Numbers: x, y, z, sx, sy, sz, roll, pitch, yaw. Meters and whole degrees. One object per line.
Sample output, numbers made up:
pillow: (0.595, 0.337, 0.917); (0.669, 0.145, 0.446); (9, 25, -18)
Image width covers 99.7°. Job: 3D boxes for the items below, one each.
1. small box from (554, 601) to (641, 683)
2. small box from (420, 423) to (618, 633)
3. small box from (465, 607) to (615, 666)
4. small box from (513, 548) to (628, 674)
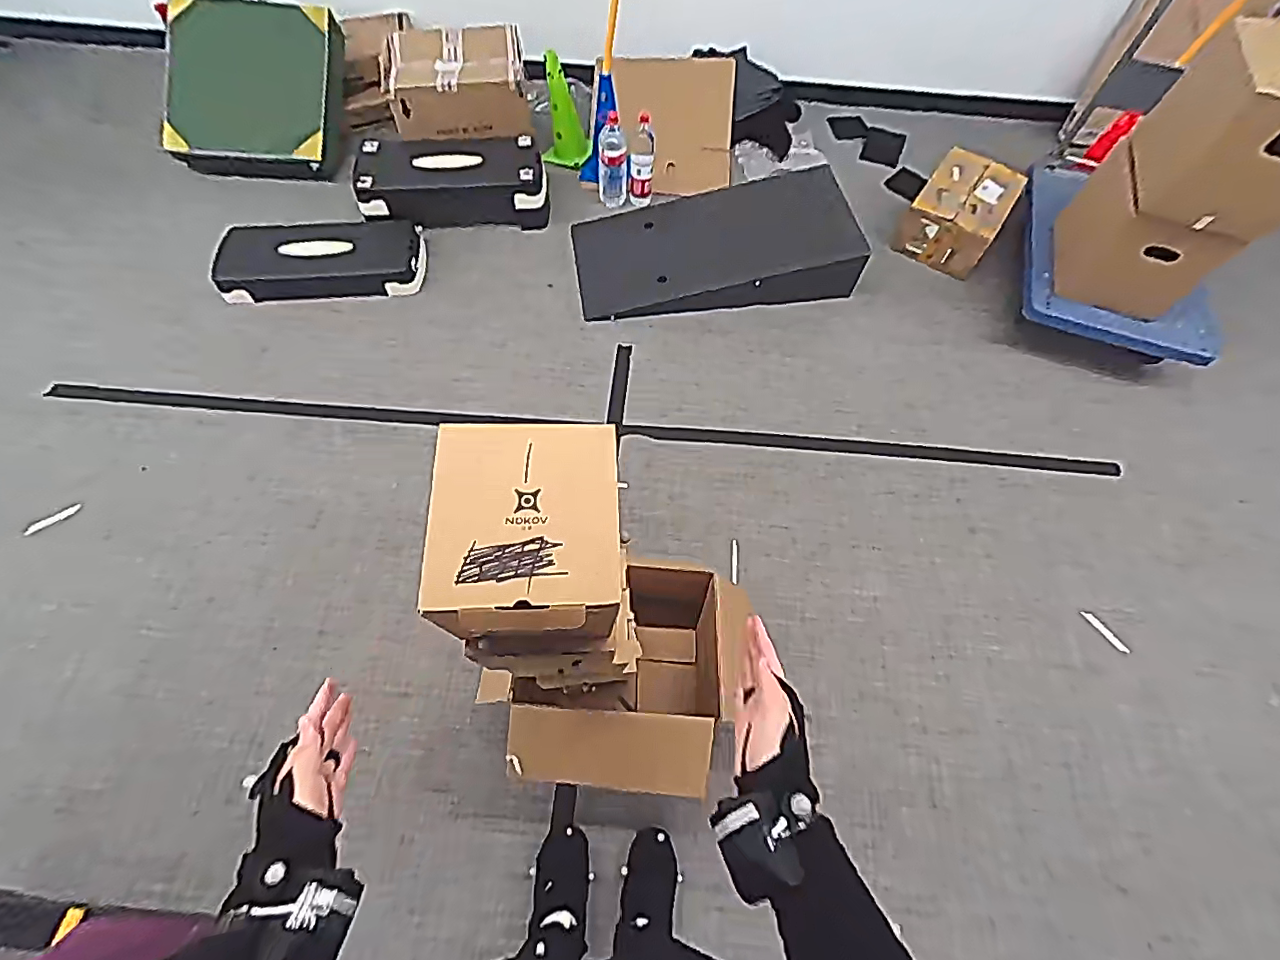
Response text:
small box: (-0.107, 0.324, 1.150); (0.179, 0.176, 0.168); (-13, 67, -12)
small box: (-0.108, 0.059, 0.549); (0.168, 0.176, 0.179); (0, 66, -6)
small box: (-0.115, 0.141, 0.691); (0.168, 0.176, 0.179); (1, 66, -6)
small box: (-0.111, 0.208, 0.841); (0.179, 0.176, 0.168); (0, 67, -5)
